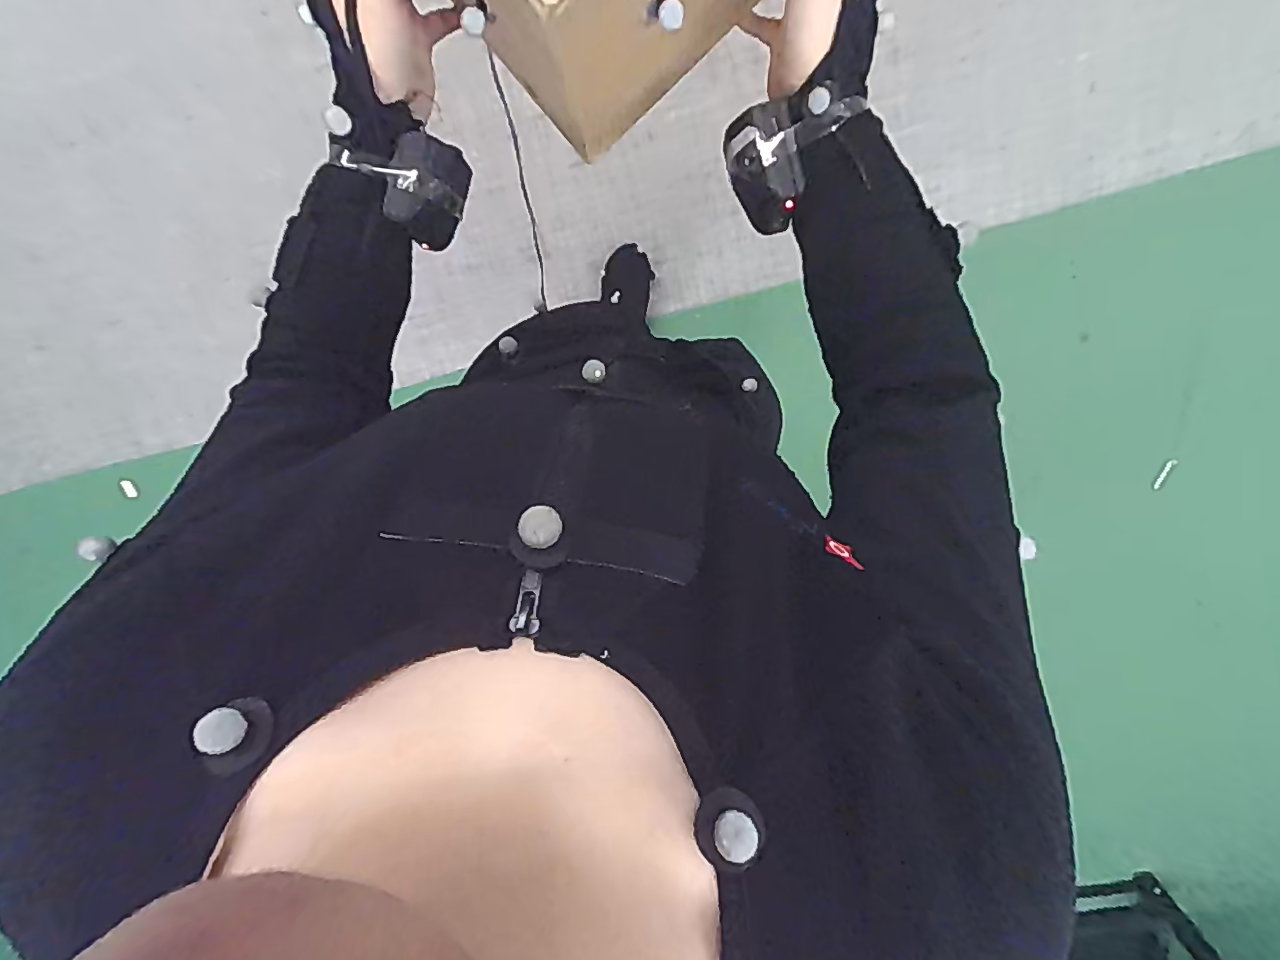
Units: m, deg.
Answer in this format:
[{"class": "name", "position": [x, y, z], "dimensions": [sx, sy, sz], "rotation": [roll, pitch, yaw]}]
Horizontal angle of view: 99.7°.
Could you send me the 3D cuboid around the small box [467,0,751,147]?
[{"class": "small box", "position": [-0.028, -0.346, 0.315], "dimensions": [0.179, 0.176, 0.168], "rotation": [-41, 96, 8]}]
